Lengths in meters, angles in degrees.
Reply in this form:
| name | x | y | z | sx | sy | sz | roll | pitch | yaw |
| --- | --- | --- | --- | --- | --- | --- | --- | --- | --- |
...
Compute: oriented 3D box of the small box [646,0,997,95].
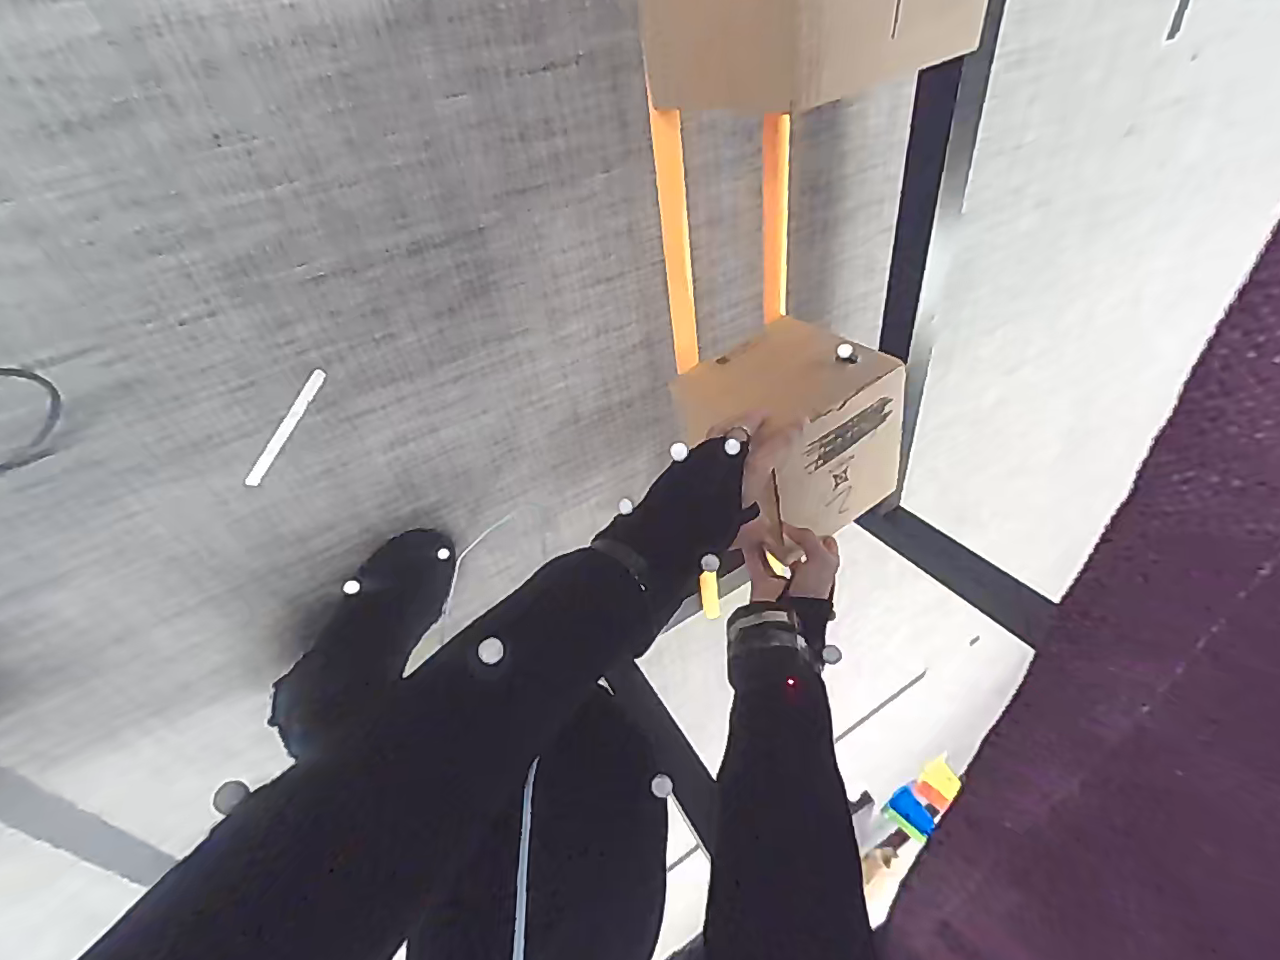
| name | x | y | z | sx | sy | sz | roll | pitch | yaw |
| --- | --- | --- | --- | --- | --- | --- | --- | --- | --- |
| small box | 0.107 | -0.362 | 0.334 | 0.168 | 0.176 | 0.179 | -28 | 135 | -15 |
